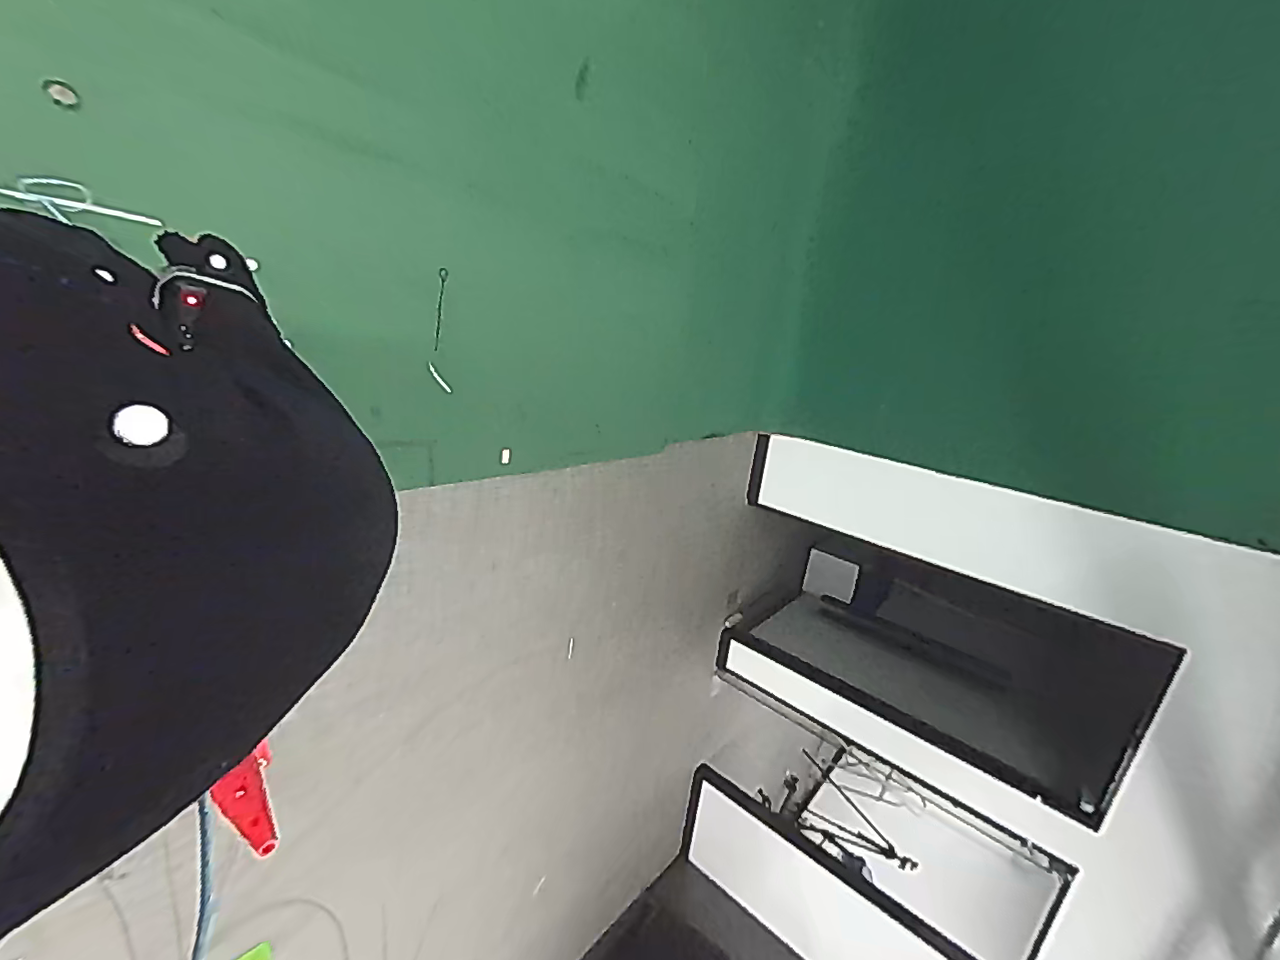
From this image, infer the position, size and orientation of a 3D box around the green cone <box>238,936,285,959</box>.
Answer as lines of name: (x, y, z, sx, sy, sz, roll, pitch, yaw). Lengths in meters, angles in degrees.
green cone: (-1.098, 1.595, 1.573, 0.202, 0.368, 0.200, -14, 116, -46)
